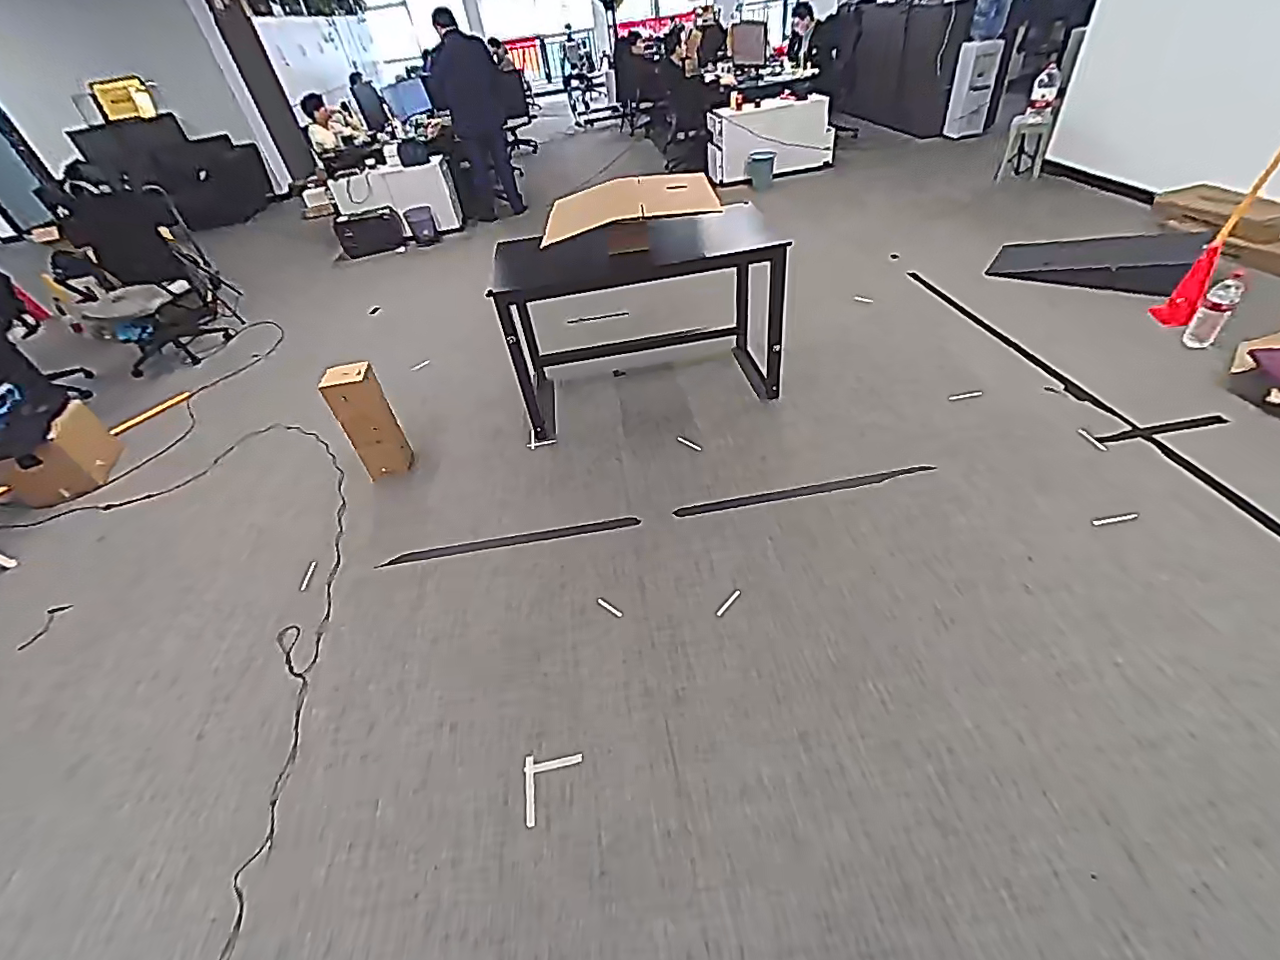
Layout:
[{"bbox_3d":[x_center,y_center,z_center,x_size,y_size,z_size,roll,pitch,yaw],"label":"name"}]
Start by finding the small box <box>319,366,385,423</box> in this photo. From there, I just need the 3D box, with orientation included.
[{"bbox_3d":[-1.224,-0.362,2.308,0.179,0.176,0.168,-13,41,-4],"label":"small box"}]

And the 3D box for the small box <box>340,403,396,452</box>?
[{"bbox_3d":[-1.209,-0.241,2.417,0.168,0.176,0.179,-14,40,-8],"label":"small box"}]

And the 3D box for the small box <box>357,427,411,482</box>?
[{"bbox_3d":[-1.186,-0.118,2.520,0.168,0.176,0.179,-13,42,-4],"label":"small box"}]
